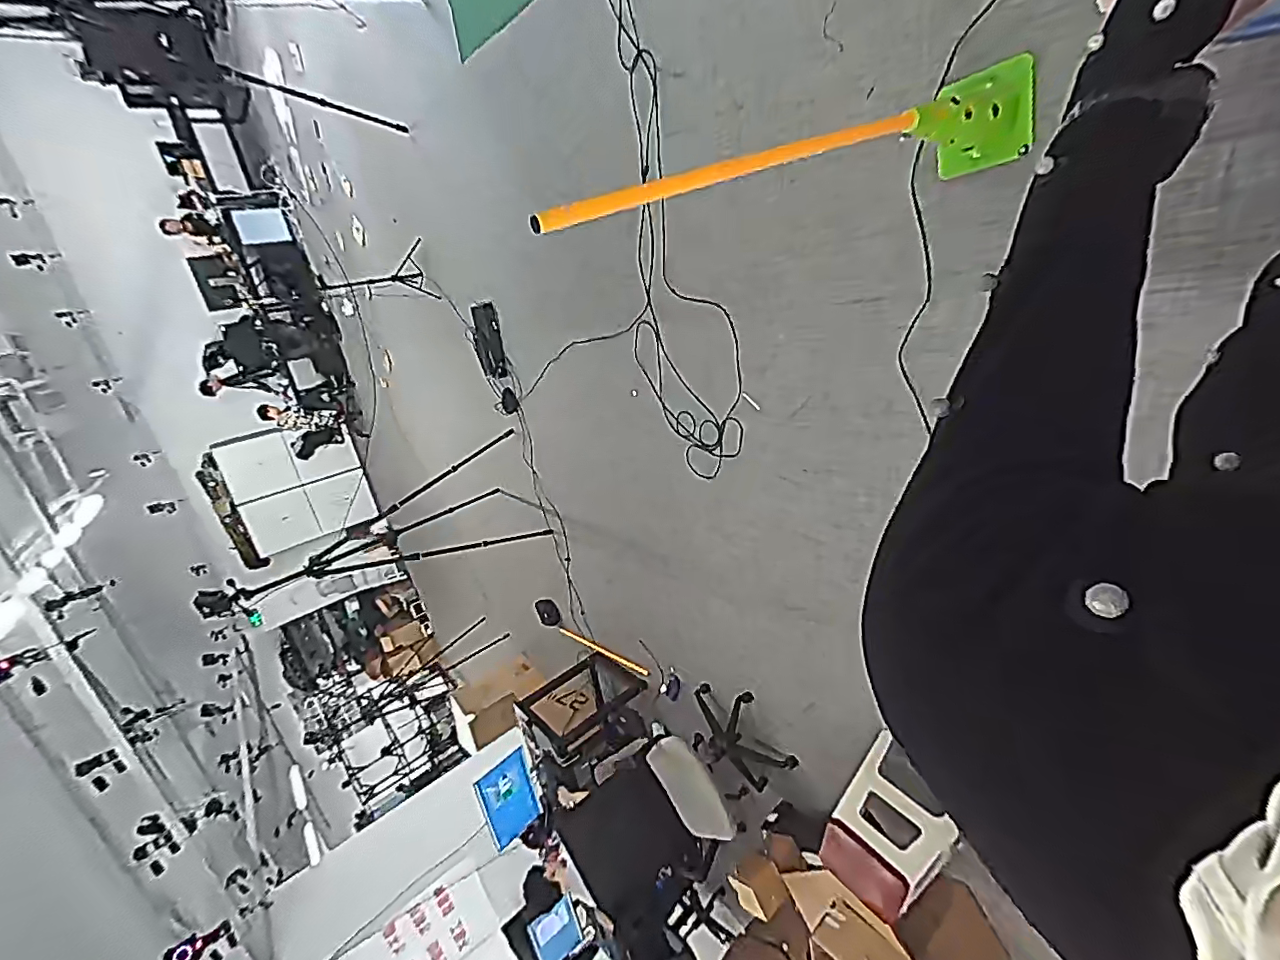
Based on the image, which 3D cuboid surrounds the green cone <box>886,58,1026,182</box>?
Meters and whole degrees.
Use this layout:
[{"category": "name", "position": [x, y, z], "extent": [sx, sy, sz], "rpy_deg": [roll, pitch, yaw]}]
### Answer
[{"category": "green cone", "position": [0.647, -0.768, 1.163], "extent": [0.202, 0.368, 0.200], "rpy_deg": [11, 119, 53]}]
